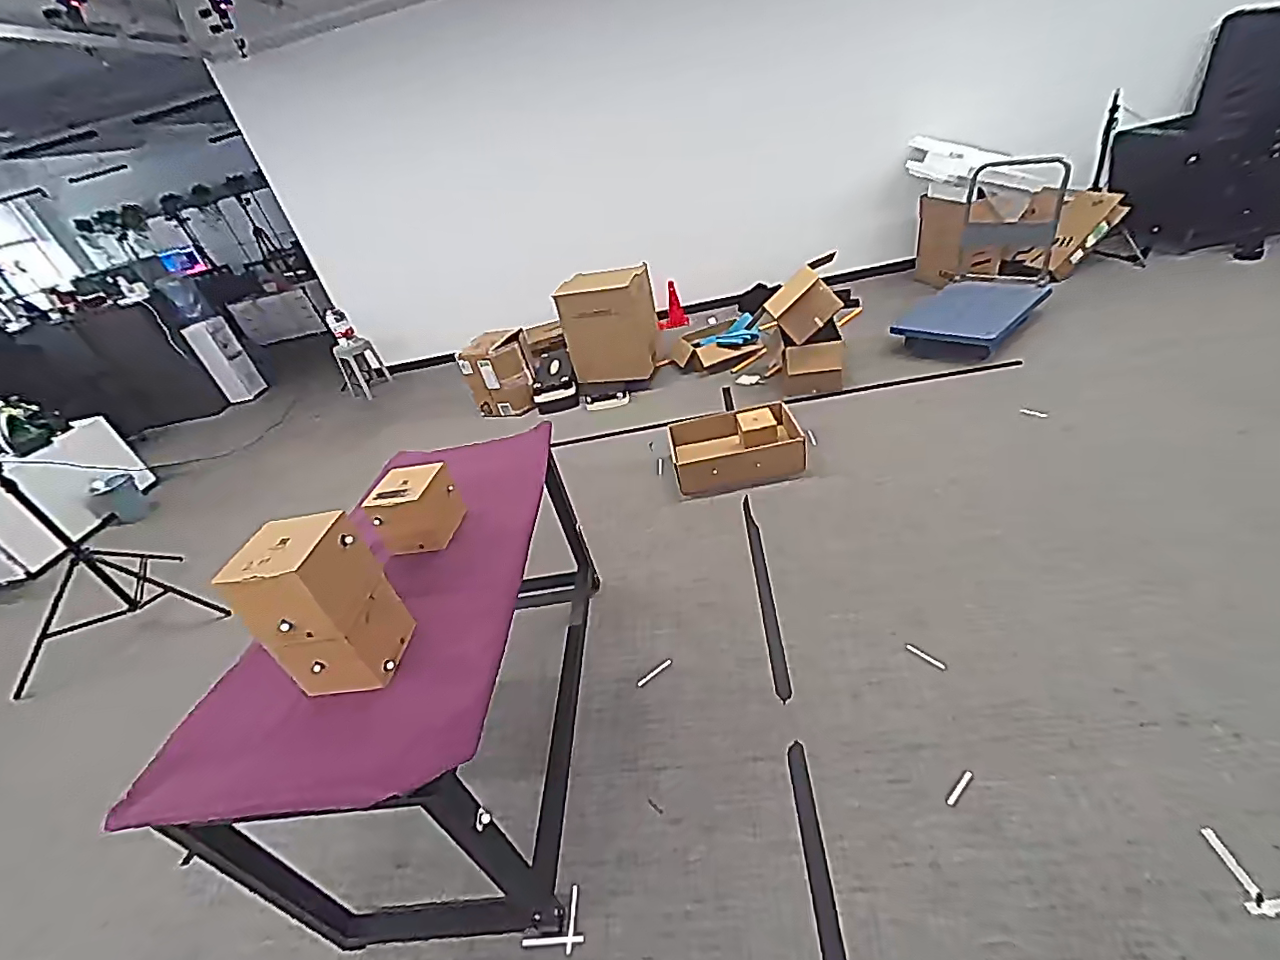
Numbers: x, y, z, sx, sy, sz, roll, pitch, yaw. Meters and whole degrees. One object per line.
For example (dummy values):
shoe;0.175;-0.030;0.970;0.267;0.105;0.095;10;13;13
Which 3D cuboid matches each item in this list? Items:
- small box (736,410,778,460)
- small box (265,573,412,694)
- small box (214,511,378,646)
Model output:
small box;0.582;-0.224;2.694;0.168;0.176;0.179;-12;34;5
small box;-0.604;0.319;1.115;0.179;0.176;0.168;-9;33;8
small box;-0.629;0.185;1.021;0.168;0.176;0.179;-9;33;8
